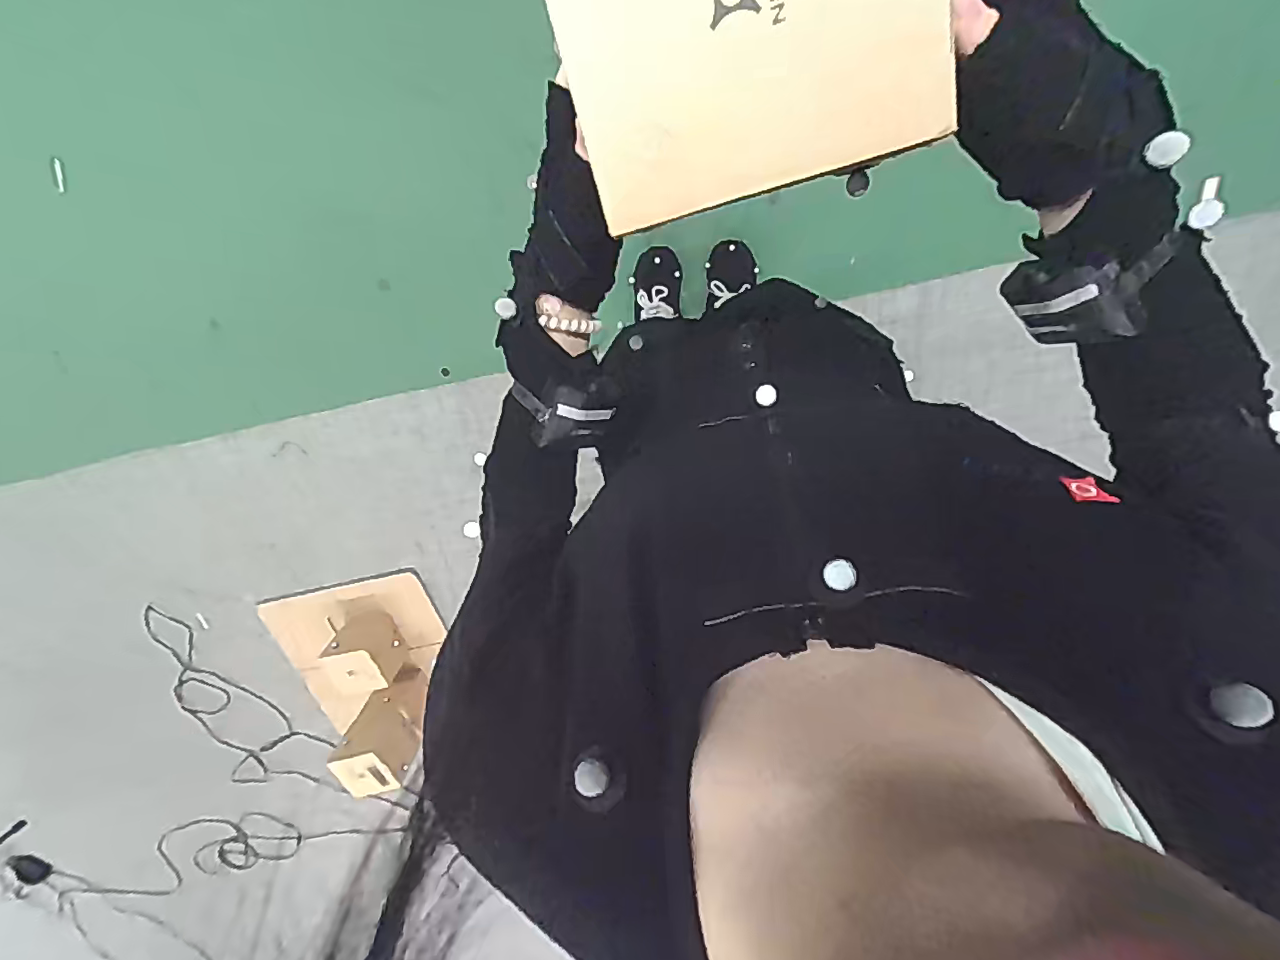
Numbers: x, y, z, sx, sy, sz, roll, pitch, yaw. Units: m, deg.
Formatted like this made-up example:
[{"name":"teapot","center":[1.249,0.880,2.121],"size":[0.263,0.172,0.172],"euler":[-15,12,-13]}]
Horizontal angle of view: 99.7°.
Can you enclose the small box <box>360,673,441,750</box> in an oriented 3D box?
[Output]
[{"name":"small box","center":[-0.814,0.793,1.868],"size":[0.179,0.176,0.168],"euler":[-17,112,11]}]

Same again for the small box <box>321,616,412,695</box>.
[{"name":"small box","center":[-0.891,0.573,1.776],"size":[0.179,0.176,0.168],"euler":[-13,114,9]}]
